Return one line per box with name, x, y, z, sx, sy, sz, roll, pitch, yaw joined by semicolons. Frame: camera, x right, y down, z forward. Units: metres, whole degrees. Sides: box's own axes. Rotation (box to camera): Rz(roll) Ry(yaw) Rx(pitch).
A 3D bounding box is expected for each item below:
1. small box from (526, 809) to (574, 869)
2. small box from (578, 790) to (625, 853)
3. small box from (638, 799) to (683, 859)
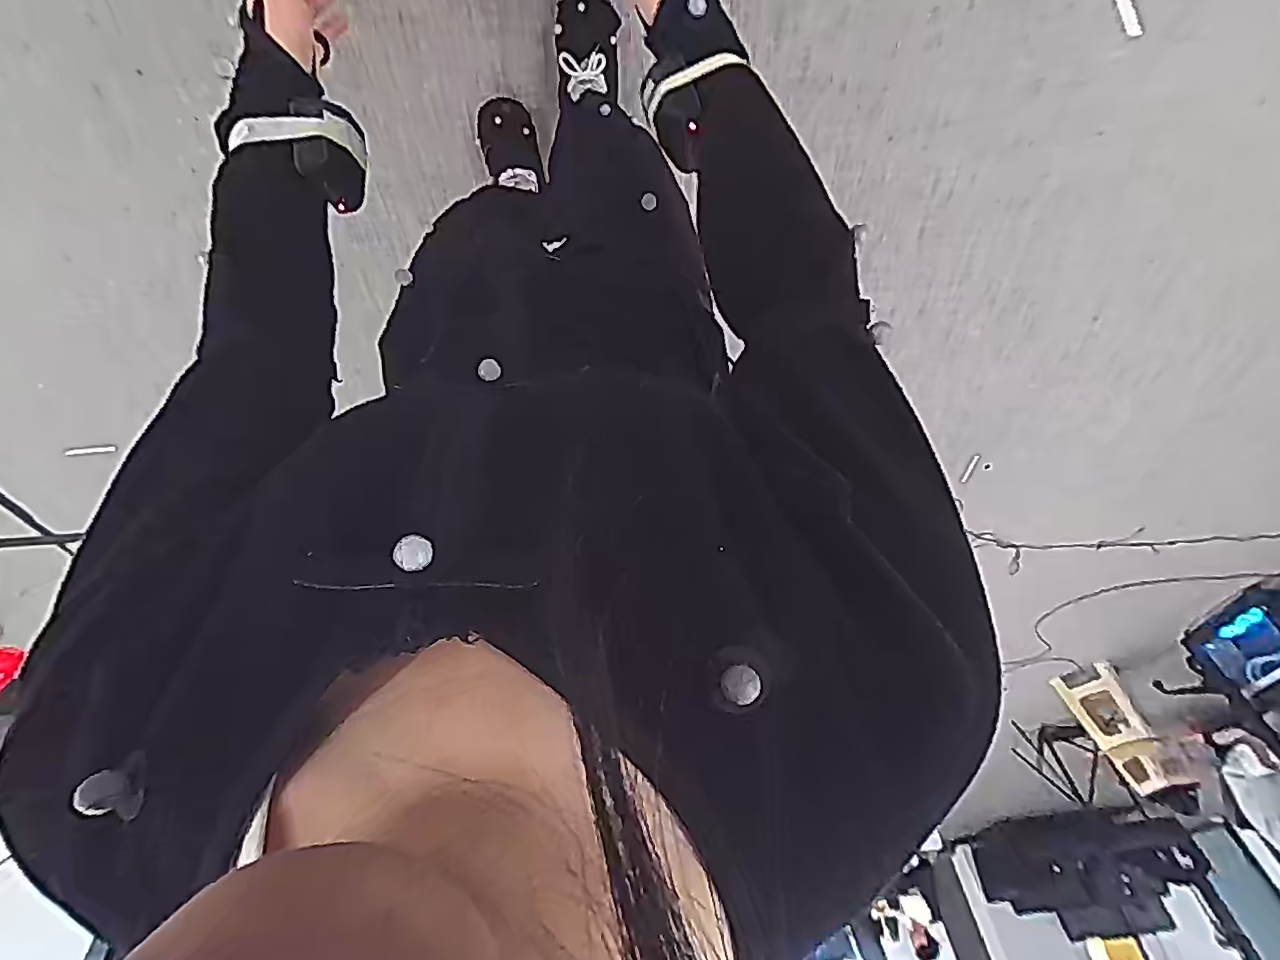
small box;-0.363;1.460;2.199;0.168;0.176;0.179;-5;134;-1
small box;-0.147;1.295;2.057;0.168;0.176;0.179;-4;136;-1
small box;0.083;1.413;2.196;0.168;0.176;0.179;-5;133;0
